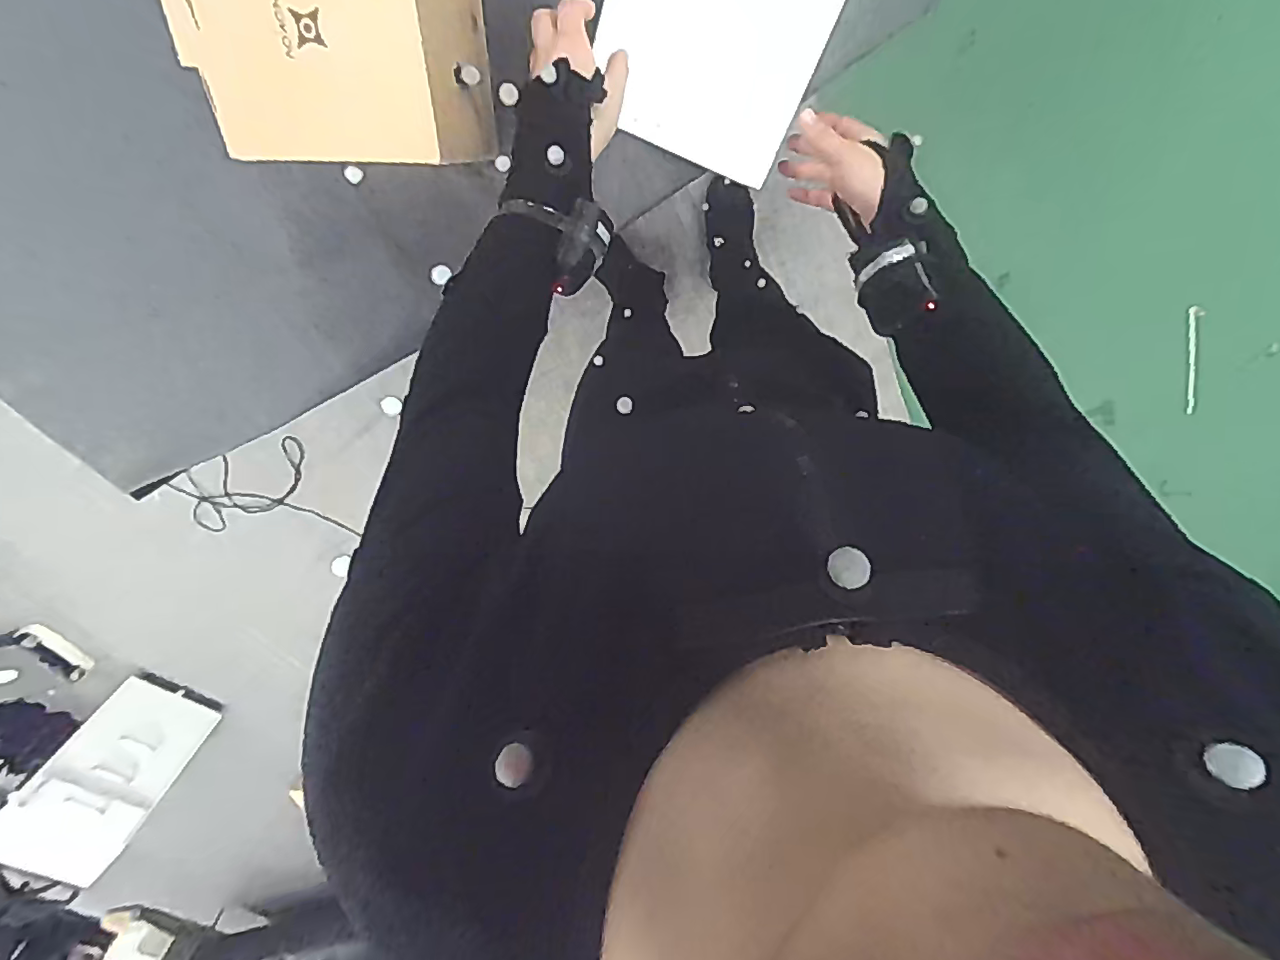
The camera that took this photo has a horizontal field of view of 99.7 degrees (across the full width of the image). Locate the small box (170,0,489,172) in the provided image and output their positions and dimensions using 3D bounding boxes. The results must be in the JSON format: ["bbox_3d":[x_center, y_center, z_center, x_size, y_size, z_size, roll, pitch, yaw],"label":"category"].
[{"bbox_3d":[-0.235,-0.359,0.448,0.179,0.176,0.168,3,123,3],"label":"small box"}]
